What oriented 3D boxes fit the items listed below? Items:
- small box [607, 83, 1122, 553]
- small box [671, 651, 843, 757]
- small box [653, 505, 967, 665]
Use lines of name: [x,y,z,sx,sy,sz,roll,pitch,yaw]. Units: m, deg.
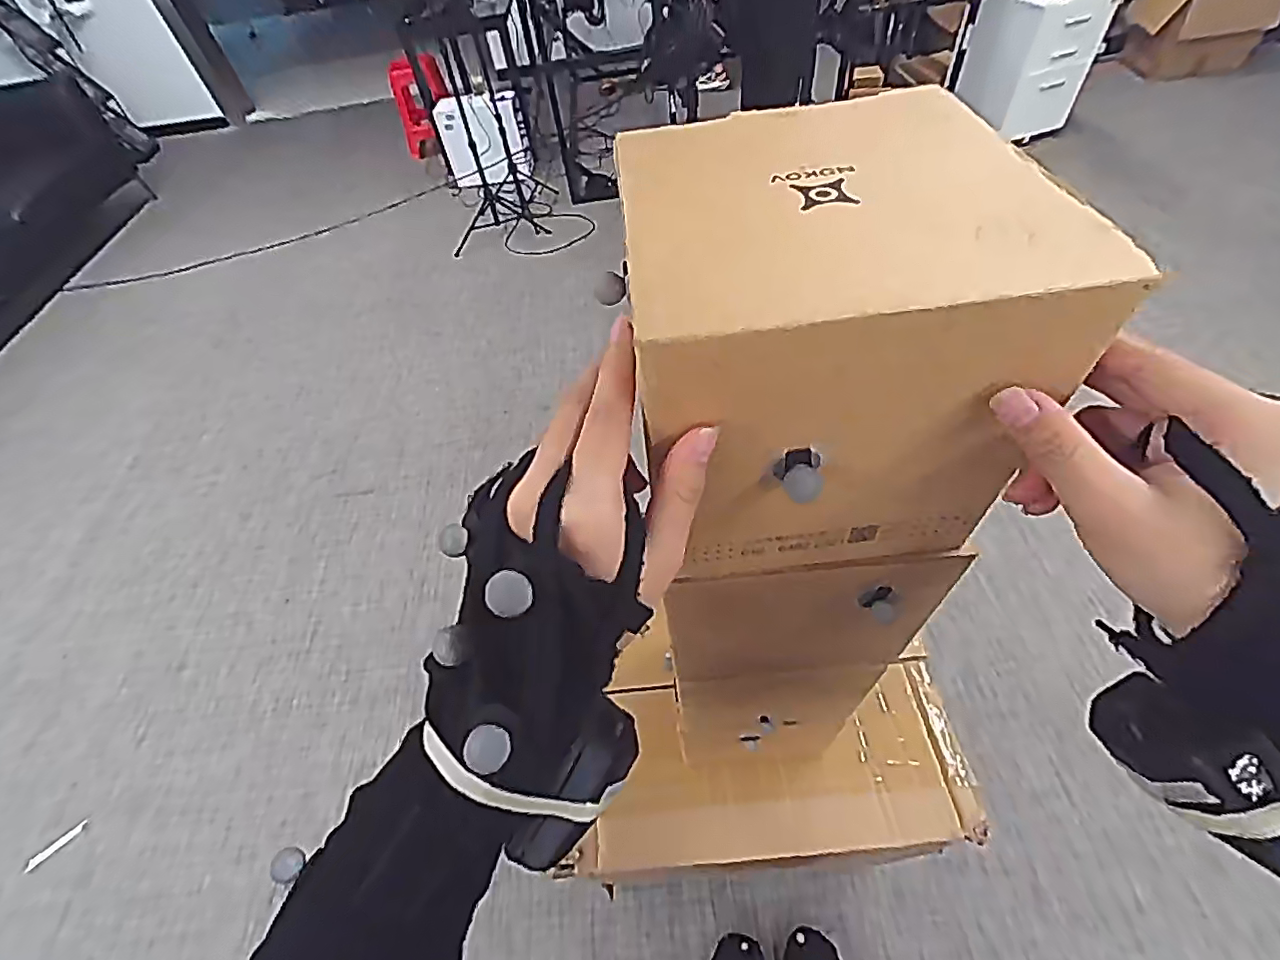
small box: [0.079,-0.074,0.289,0.168,0.176,0.179,-7,51,2]
small box: [0.130,0.234,0.669,0.179,0.176,0.168,-5,52,3]
small box: [0.100,0.029,0.413,0.179,0.176,0.168,-6,52,3]
